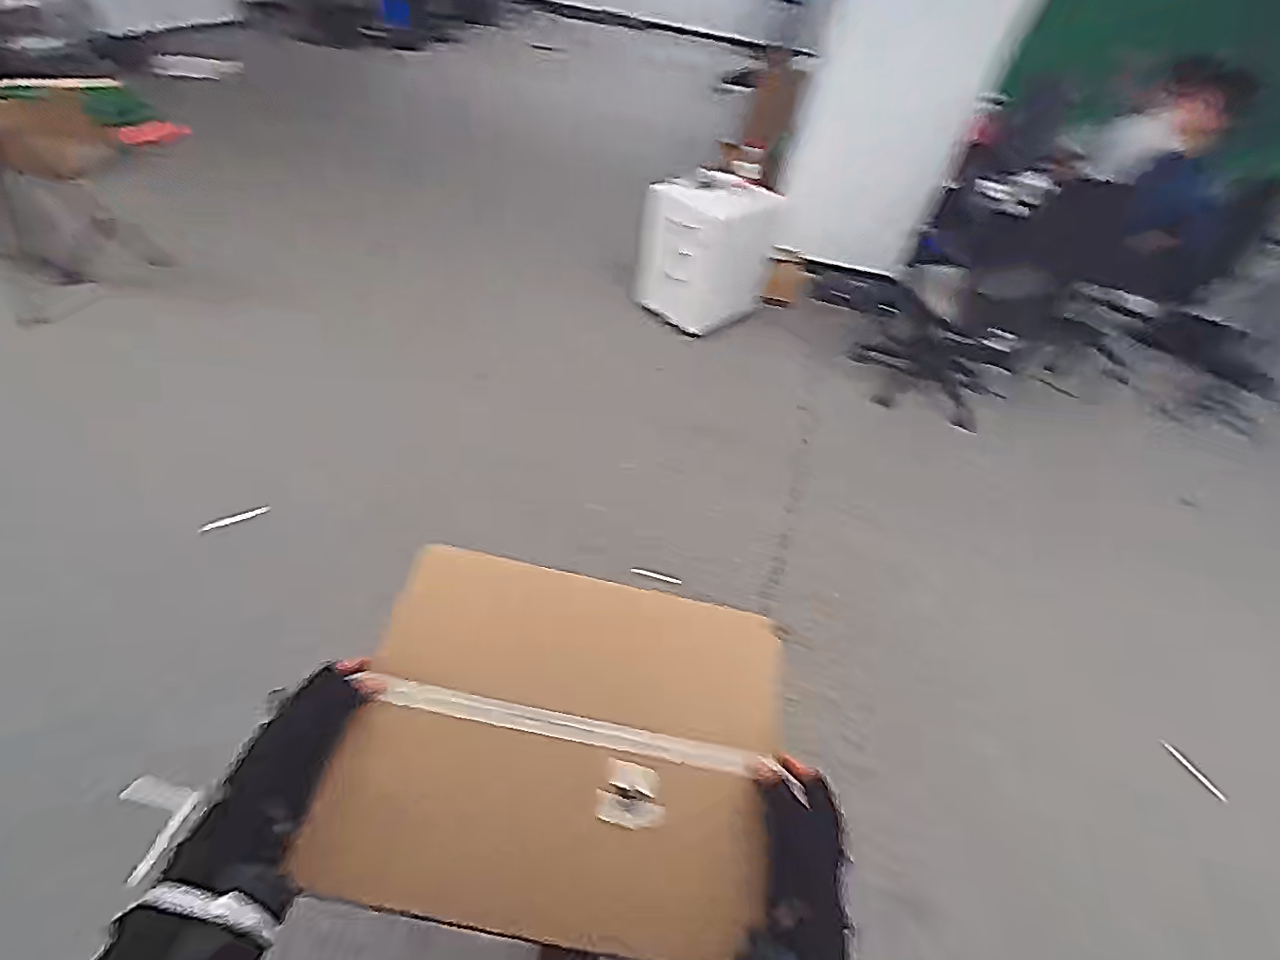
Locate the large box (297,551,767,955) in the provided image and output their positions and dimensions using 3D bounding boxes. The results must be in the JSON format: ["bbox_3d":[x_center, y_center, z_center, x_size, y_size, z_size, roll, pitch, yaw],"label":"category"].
[{"bbox_3d":[-0.091,0.325,0.654,0.408,0.320,0.320,12,54,-2],"label":"large box"}]
